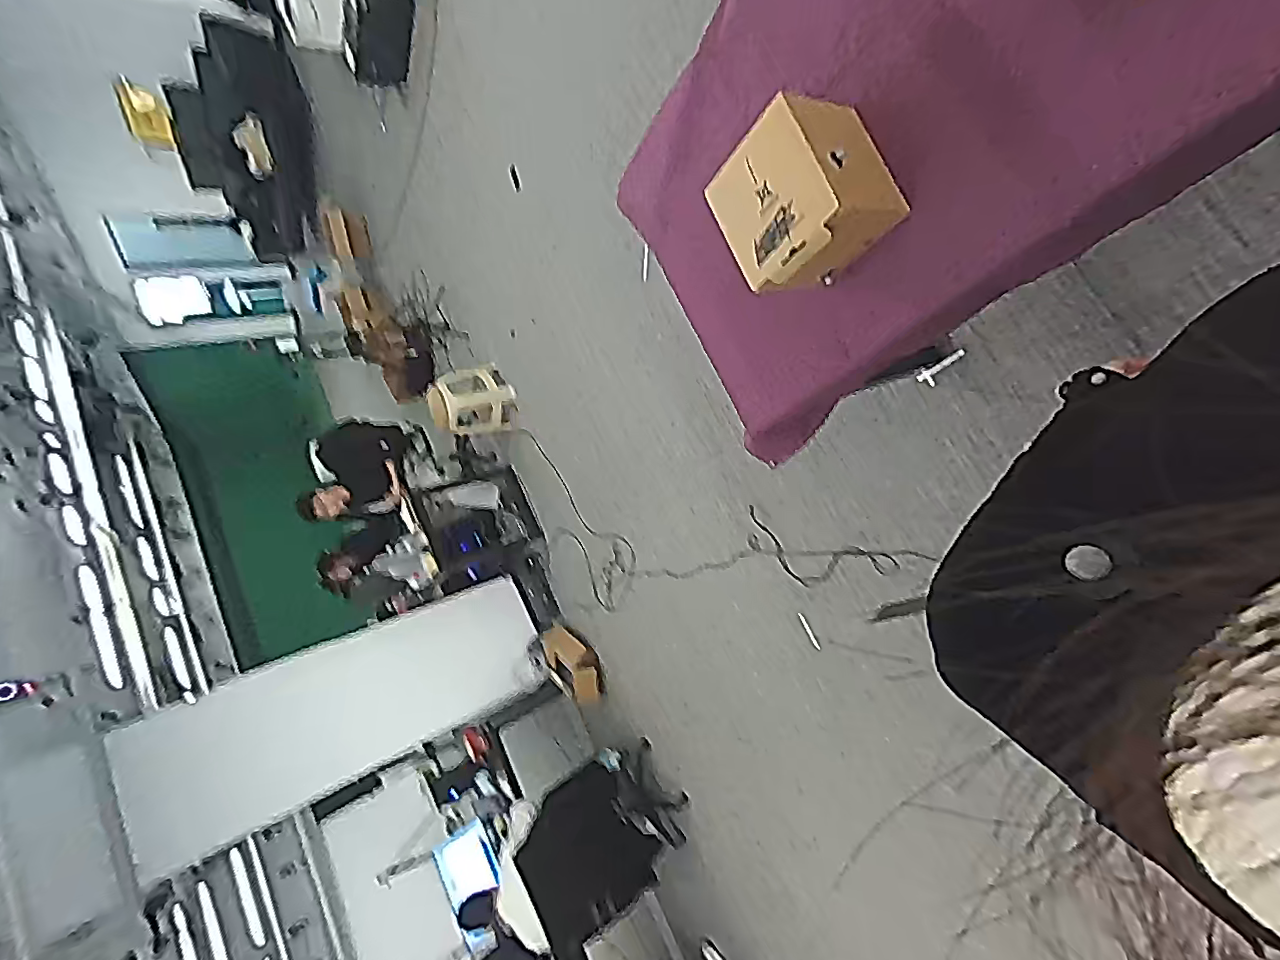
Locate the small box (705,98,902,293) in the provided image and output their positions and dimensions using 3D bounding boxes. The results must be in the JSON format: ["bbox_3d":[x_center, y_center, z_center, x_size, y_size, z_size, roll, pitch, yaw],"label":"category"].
[{"bbox_3d":[0.230,-0.391,0.764,0.168,0.176,0.179,-35,75,54],"label":"small box"}]
